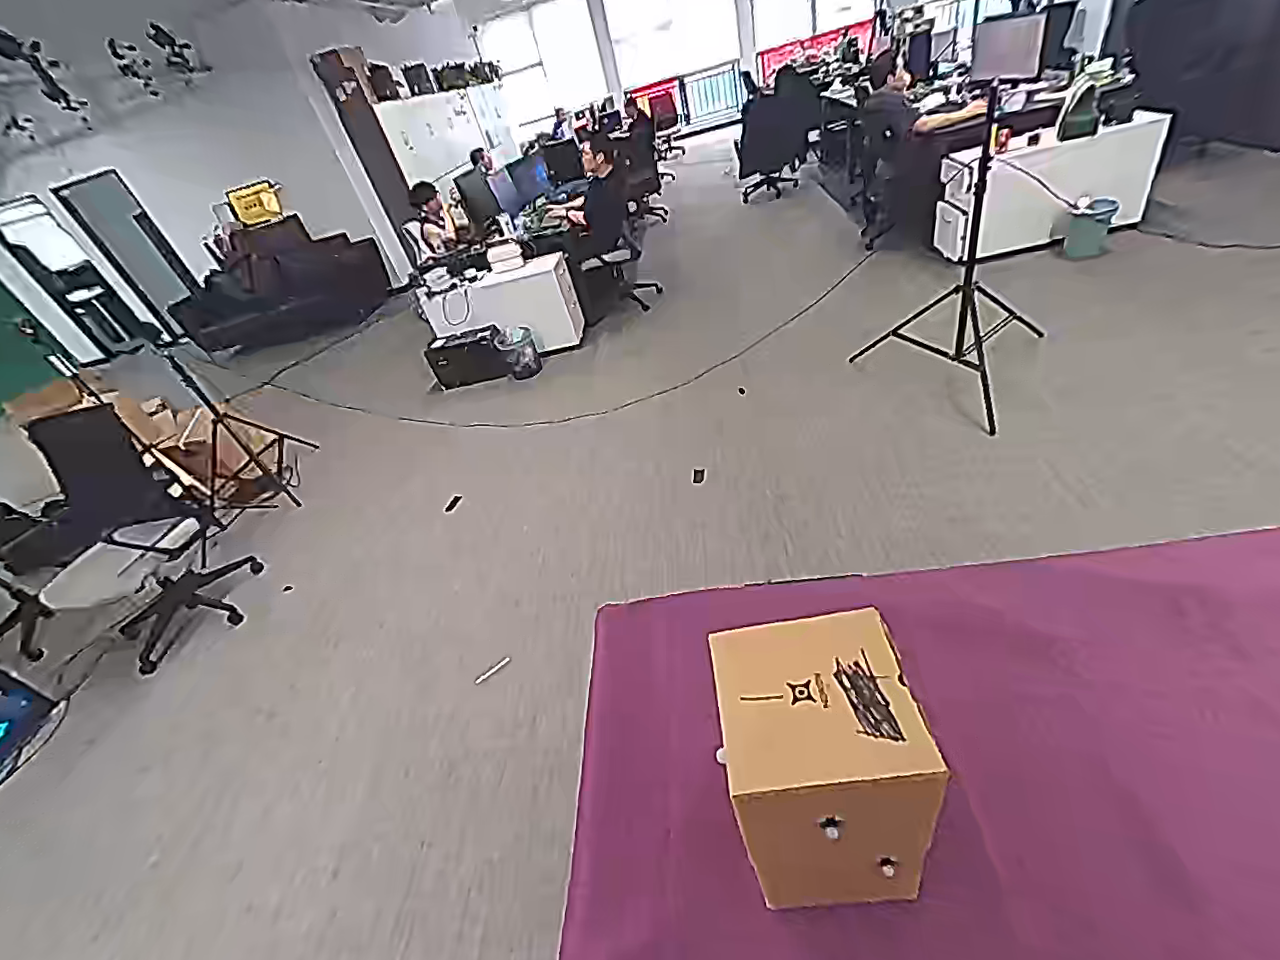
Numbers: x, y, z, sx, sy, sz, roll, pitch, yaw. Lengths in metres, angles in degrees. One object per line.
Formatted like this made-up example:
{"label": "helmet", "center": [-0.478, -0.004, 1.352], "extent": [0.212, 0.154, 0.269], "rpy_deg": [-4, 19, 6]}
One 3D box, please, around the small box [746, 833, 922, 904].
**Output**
{"label": "small box", "center": [0.215, 0.385, 0.652], "extent": [0.179, 0.176, 0.168], "rpy_deg": [-11, 37, 8]}

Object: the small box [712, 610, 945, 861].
{"label": "small box", "center": [0.178, 0.261, 0.551], "extent": [0.179, 0.176, 0.168], "rpy_deg": [-11, 36, 8]}
